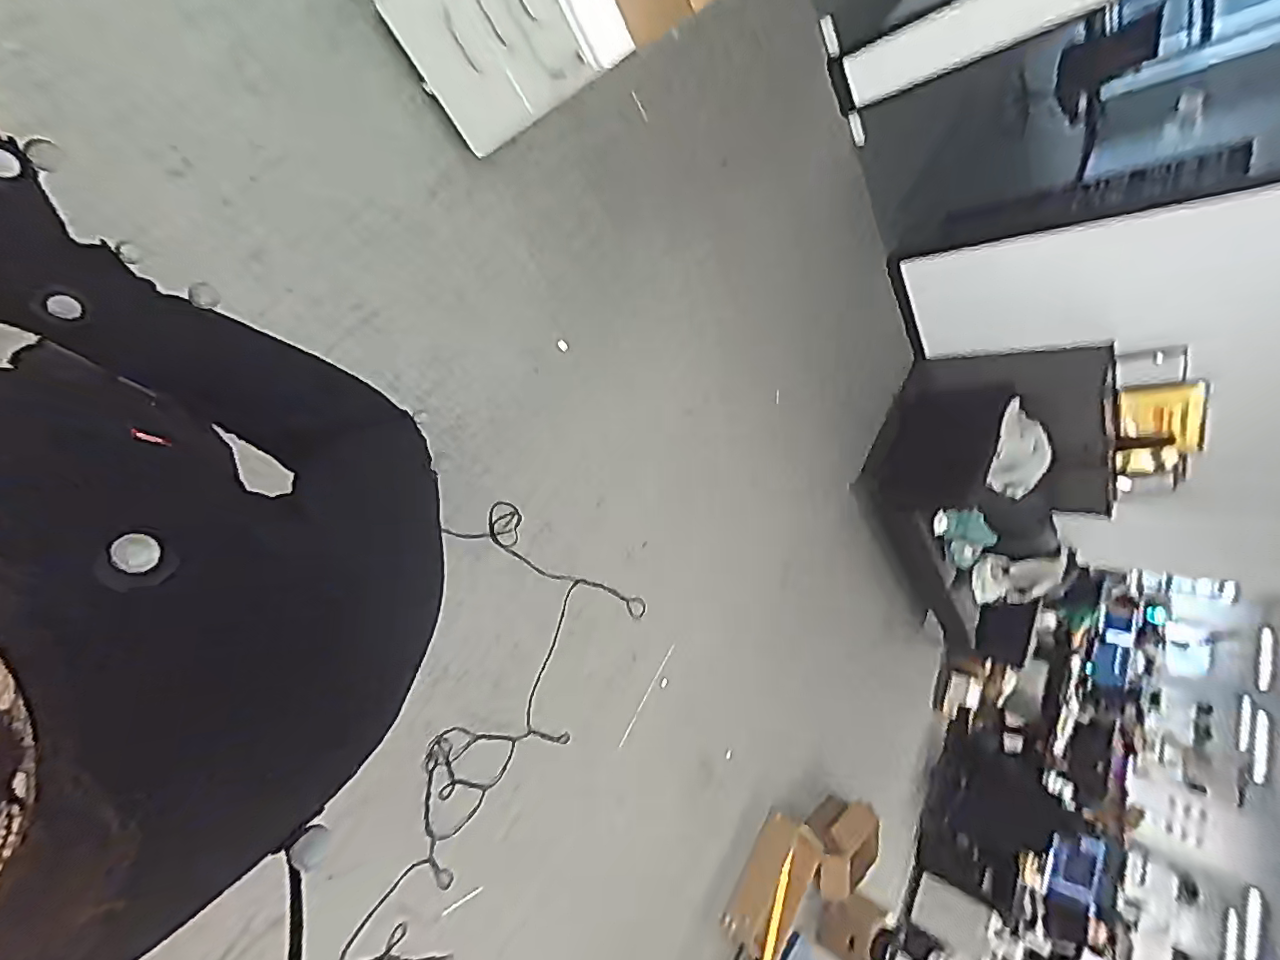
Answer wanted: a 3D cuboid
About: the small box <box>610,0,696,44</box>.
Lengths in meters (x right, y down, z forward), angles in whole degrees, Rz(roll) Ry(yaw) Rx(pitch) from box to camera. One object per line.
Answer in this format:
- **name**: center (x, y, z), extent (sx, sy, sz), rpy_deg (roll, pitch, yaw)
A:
- **small box**: center (0.032, -1.063, 1.117), extent (0.168, 0.176, 0.179), rpy_deg (-53, 127, -26)
